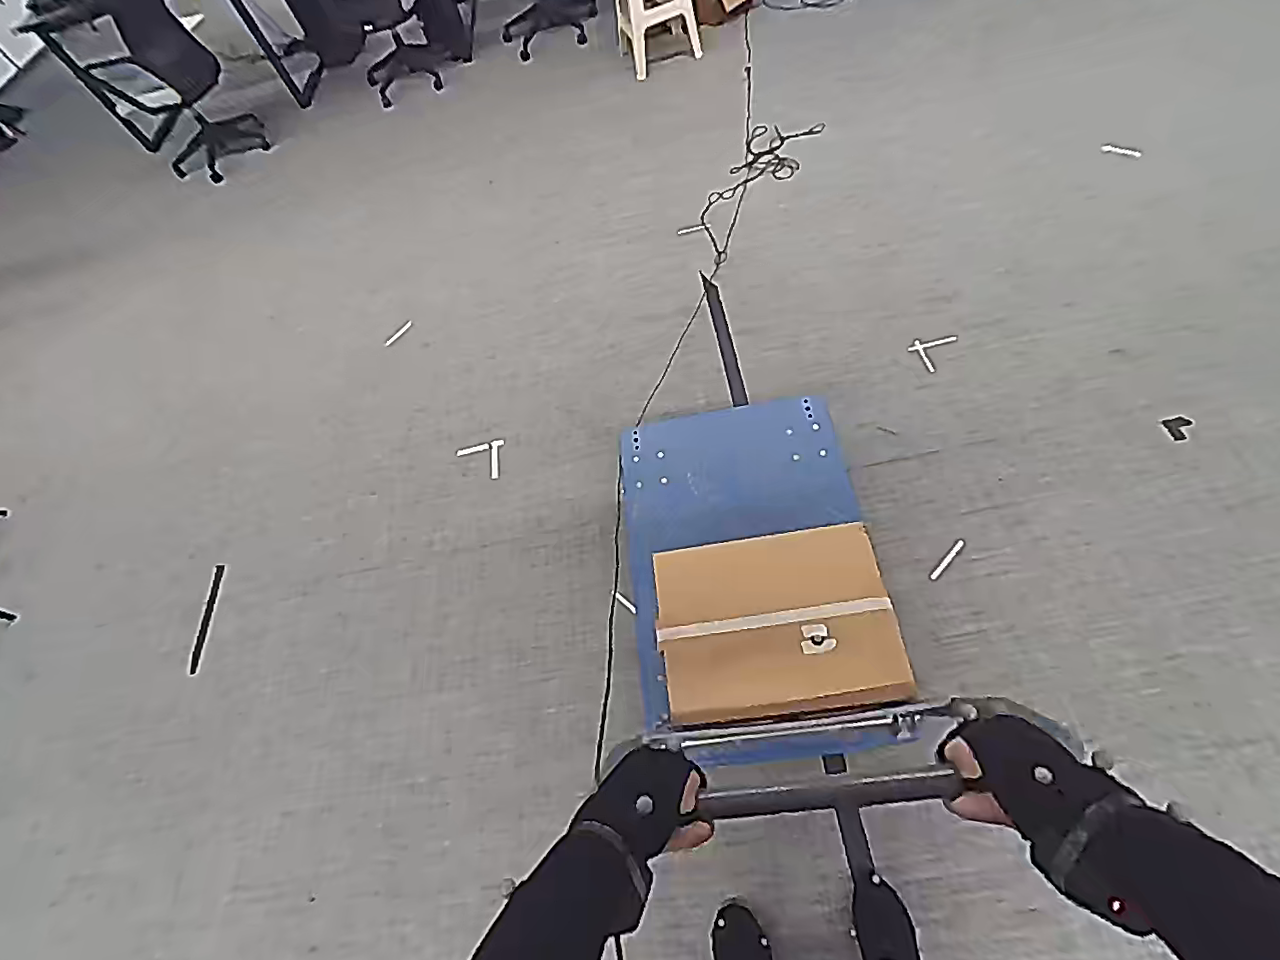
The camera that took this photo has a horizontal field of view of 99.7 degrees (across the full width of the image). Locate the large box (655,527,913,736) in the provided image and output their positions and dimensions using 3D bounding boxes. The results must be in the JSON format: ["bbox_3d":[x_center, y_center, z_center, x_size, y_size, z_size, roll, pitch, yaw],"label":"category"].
[{"bbox_3d":[0.264,0.325,1.106,0.408,0.320,0.320,-10,63,6],"label":"large box"}]
